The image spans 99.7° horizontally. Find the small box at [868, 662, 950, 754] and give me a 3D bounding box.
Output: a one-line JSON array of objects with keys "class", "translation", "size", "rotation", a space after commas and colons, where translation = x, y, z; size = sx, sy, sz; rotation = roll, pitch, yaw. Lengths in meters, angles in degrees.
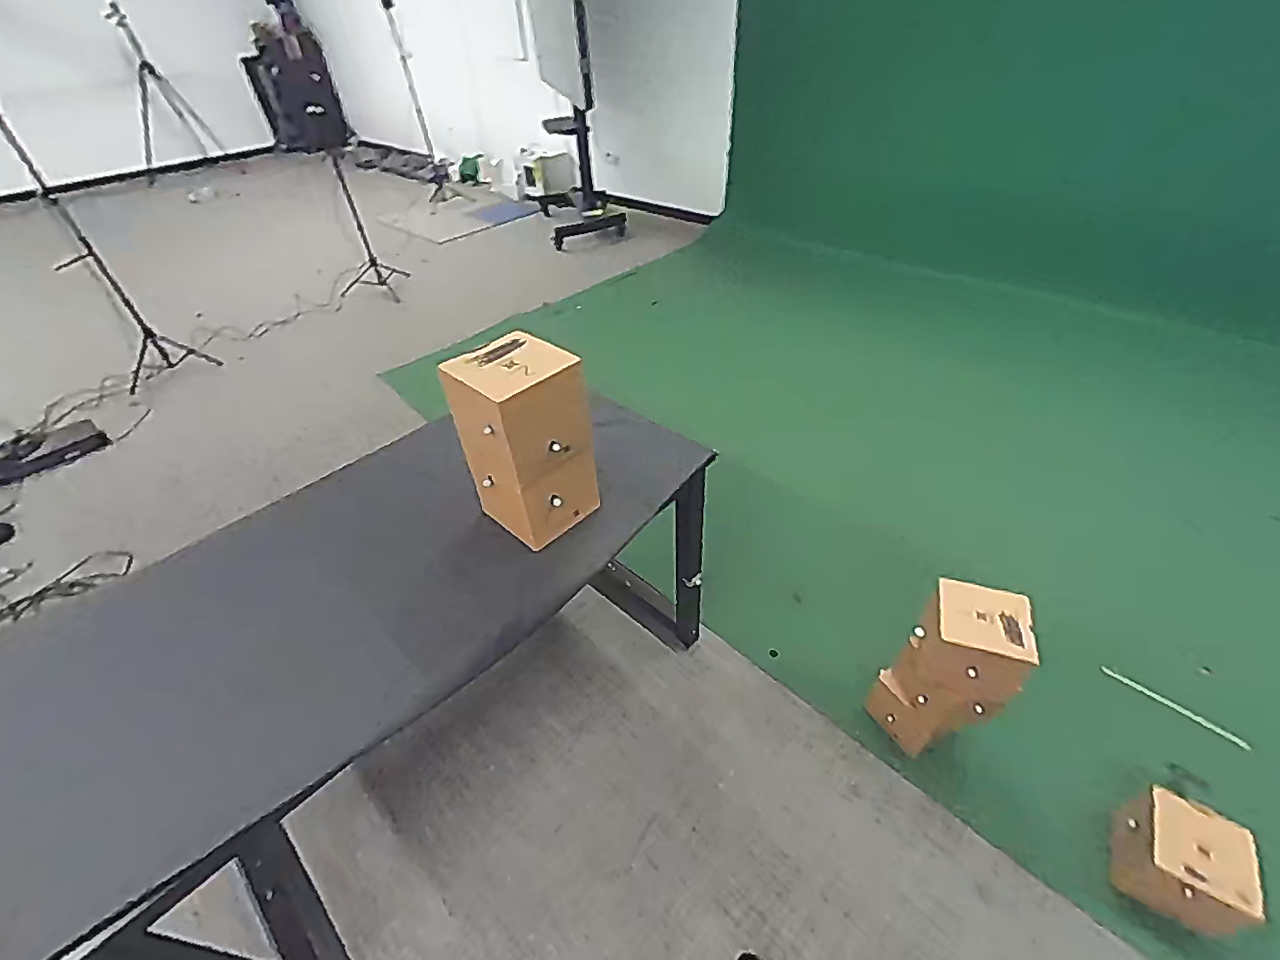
[{"class": "small box", "translation": [0.720, 0.572, 1.403], "size": [0.179, 0.176, 0.168], "rotation": [-22, 46, -20]}]

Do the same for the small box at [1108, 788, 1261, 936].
[{"class": "small box", "translation": [1.123, 0.798, 1.131], "size": [0.168, 0.176, 0.179], "rotation": [24, 48, 26]}]

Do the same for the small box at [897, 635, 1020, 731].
[{"class": "small box", "translation": [0.732, 0.470, 1.274], "size": [0.179, 0.176, 0.168], "rotation": [-7, 44, -5]}]

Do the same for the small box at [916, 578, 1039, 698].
[{"class": "small box", "translation": [0.719, 0.345, 1.167], "size": [0.179, 0.176, 0.168], "rotation": [13, 46, 18]}]

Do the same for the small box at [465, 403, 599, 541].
[{"class": "small box", "translation": [-0.194, -0.011, 1.017], "size": [0.179, 0.176, 0.168], "rotation": [31, 52, 33]}]
